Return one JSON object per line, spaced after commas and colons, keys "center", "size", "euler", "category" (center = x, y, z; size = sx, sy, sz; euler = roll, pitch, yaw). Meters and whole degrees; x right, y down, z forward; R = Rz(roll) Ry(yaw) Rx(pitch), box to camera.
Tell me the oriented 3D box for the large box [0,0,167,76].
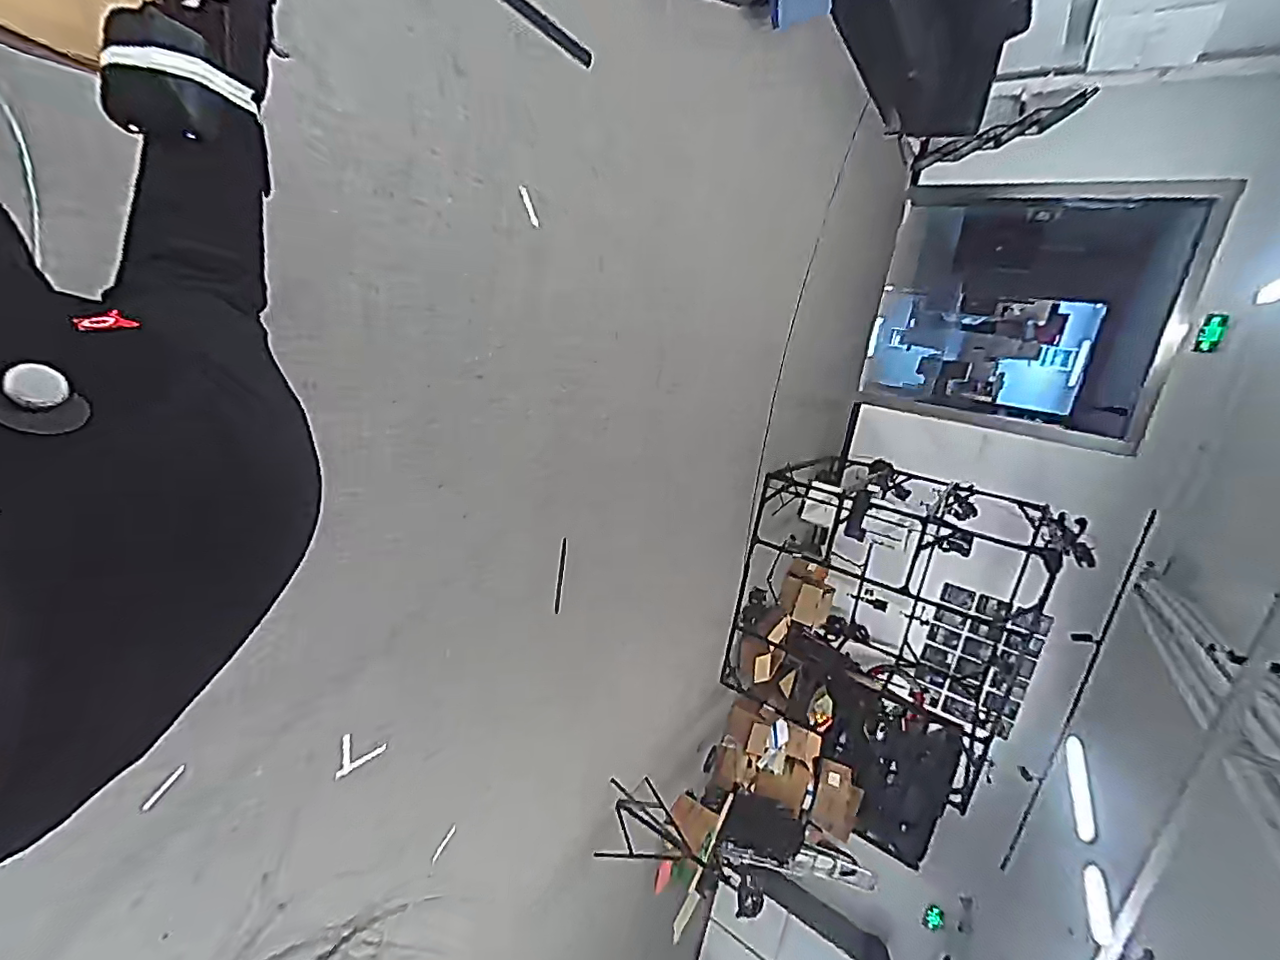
{"center": [-0.523, -0.484, 0.255], "size": [0.408, 0.320, 0.320], "euler": [-6, 122, -59], "category": "large box"}
